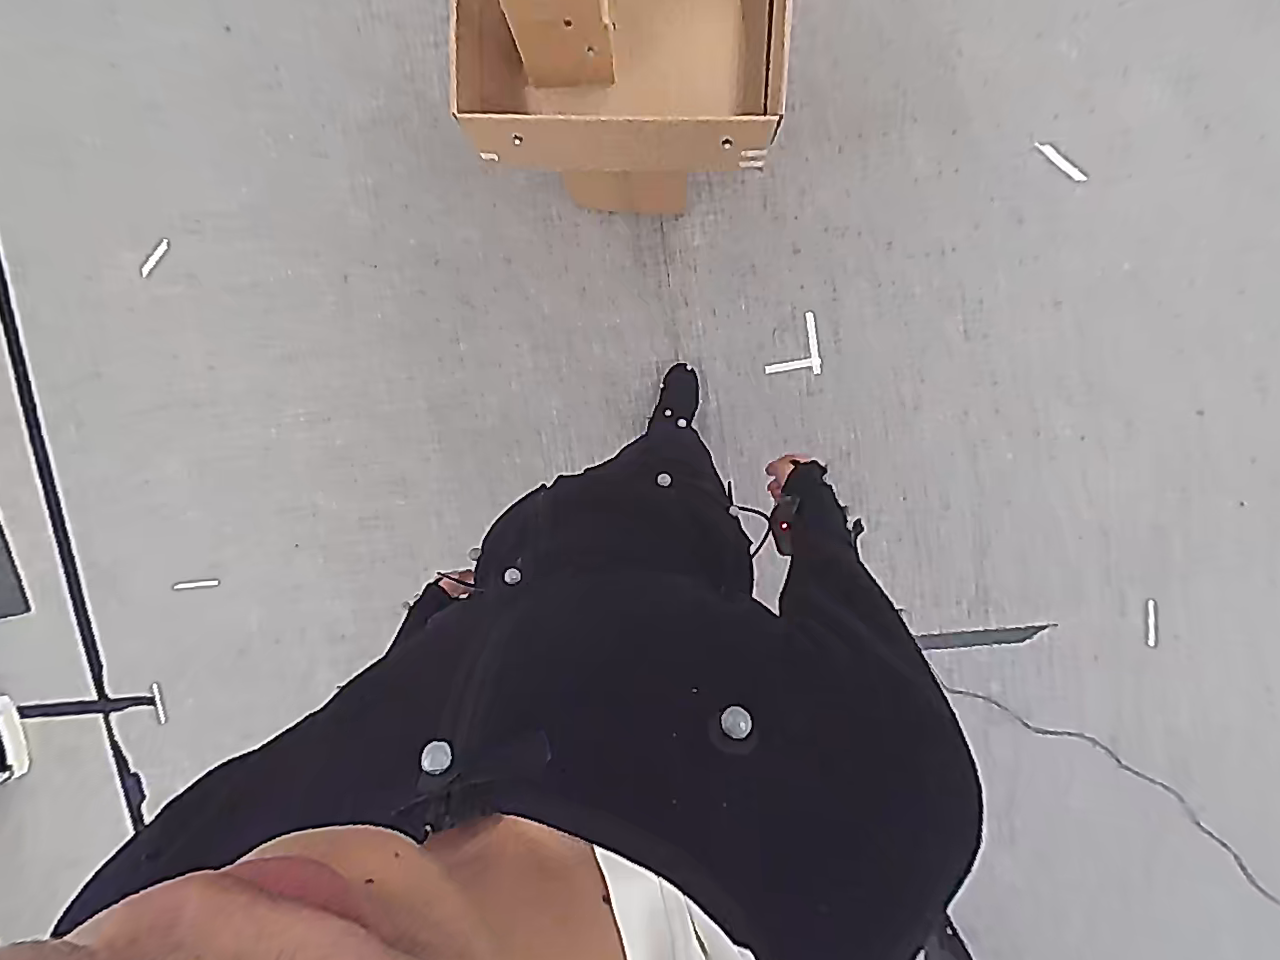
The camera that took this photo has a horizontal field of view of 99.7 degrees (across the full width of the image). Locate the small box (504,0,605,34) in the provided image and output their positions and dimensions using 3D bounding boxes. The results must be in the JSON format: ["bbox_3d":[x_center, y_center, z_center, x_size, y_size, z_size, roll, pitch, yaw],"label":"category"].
[{"bbox_3d":[-0.146,-0.861,0.857,0.168,0.176,0.179,-1,96,2],"label":"small box"}]
